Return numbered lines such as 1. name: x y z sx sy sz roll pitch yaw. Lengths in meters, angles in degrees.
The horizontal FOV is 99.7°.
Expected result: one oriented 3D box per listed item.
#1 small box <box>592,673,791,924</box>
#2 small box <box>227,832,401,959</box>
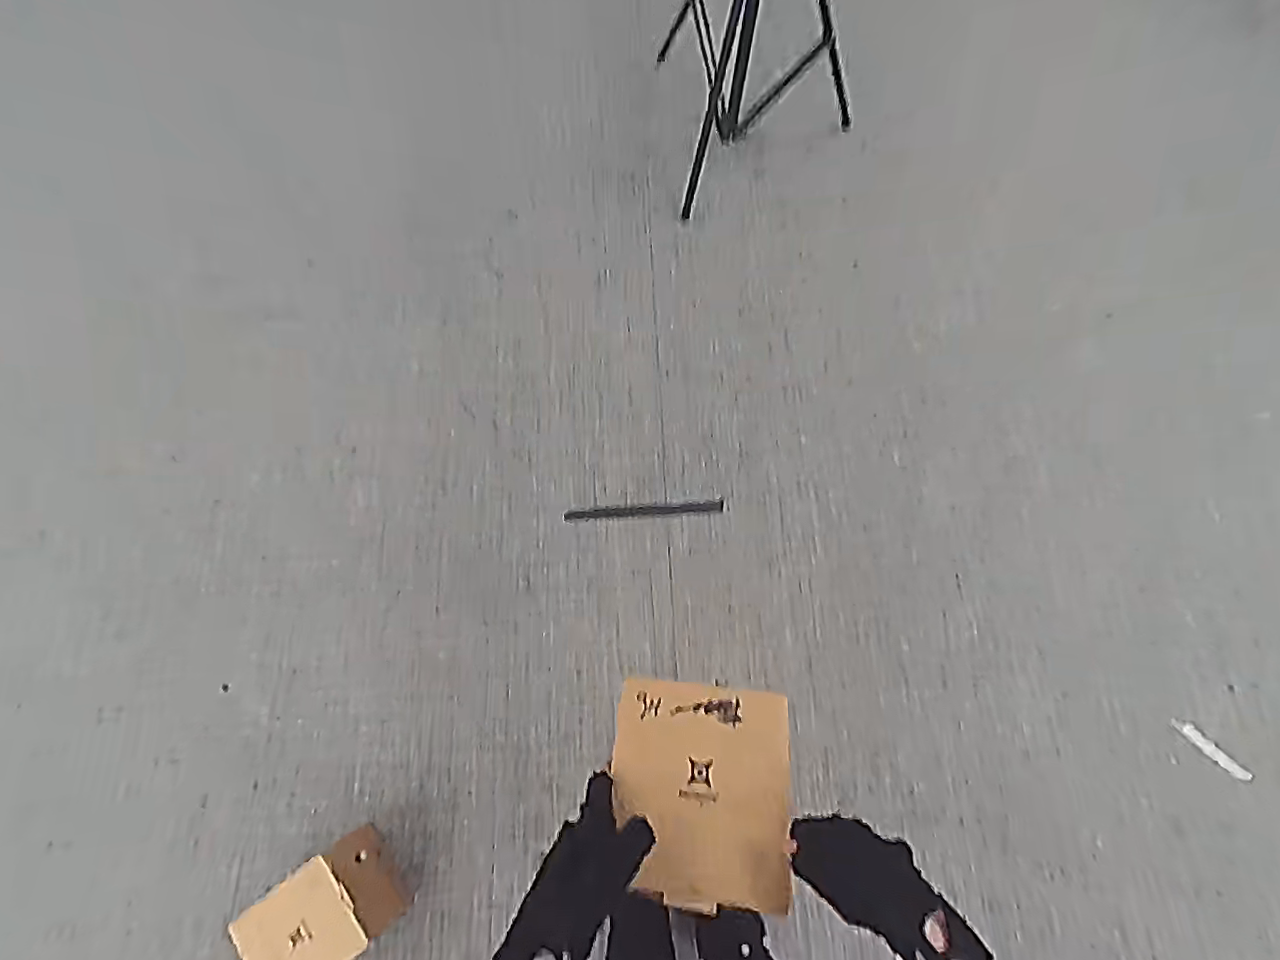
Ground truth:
1. small box: 0.056 0.312 0.550 0.168 0.176 0.179 5 60 6
2. small box: -0.547 0.760 0.940 0.179 0.176 0.168 -37 75 -10
